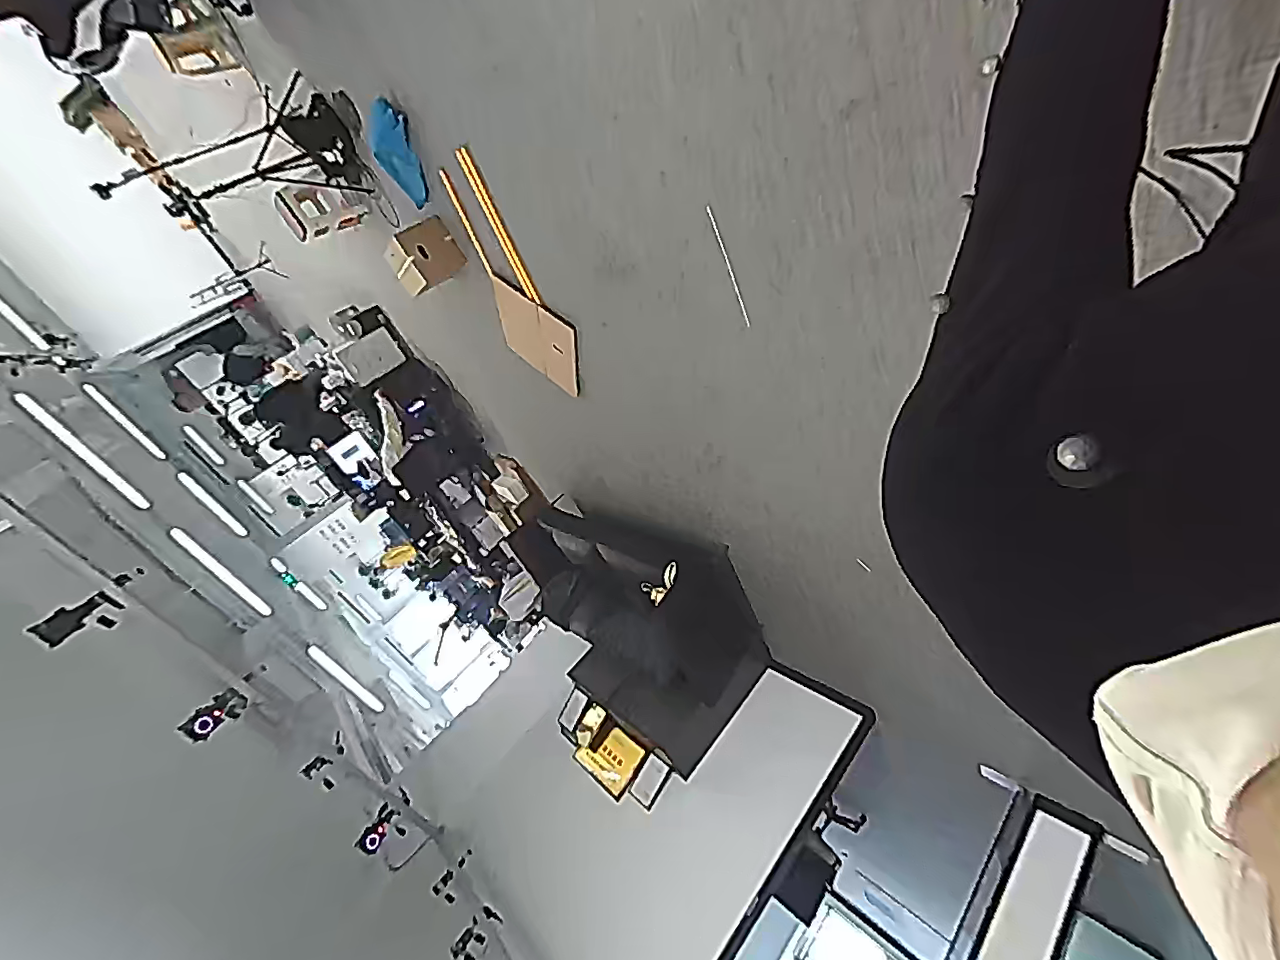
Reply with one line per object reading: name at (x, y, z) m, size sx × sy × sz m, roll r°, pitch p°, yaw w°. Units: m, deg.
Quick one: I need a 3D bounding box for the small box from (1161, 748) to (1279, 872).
small box at (1.426, 0.799, 1.323) m, size 0.168 × 0.176 × 0.179 m, roll 21°, pitch 146°, yaw 44°
